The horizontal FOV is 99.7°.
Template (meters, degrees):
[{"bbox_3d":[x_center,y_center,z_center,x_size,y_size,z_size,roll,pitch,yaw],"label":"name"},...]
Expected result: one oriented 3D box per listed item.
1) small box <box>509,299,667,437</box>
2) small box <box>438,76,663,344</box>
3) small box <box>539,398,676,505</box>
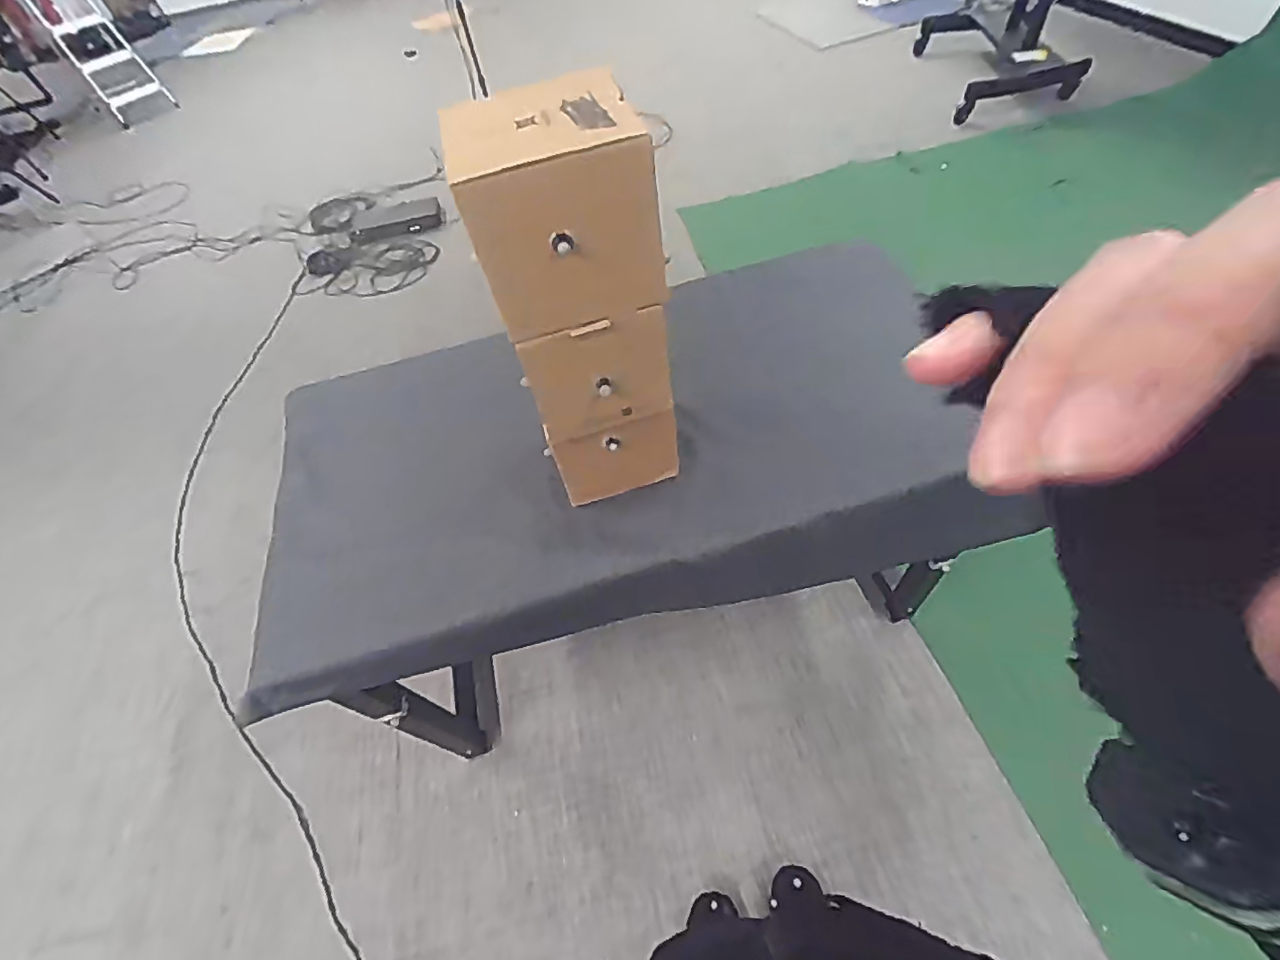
[{"bbox_3d":[-0.069,-0.175,0.685,0.168,0.176,0.179,-17,55,-4],"label":"small box"},{"bbox_3d":[-0.082,-0.269,0.549,0.179,0.176,0.168,-18,55,-6],"label":"small box"},{"bbox_3d":[-0.053,-0.085,0.820,0.179,0.176,0.168,-16,55,-5],"label":"small box"}]
